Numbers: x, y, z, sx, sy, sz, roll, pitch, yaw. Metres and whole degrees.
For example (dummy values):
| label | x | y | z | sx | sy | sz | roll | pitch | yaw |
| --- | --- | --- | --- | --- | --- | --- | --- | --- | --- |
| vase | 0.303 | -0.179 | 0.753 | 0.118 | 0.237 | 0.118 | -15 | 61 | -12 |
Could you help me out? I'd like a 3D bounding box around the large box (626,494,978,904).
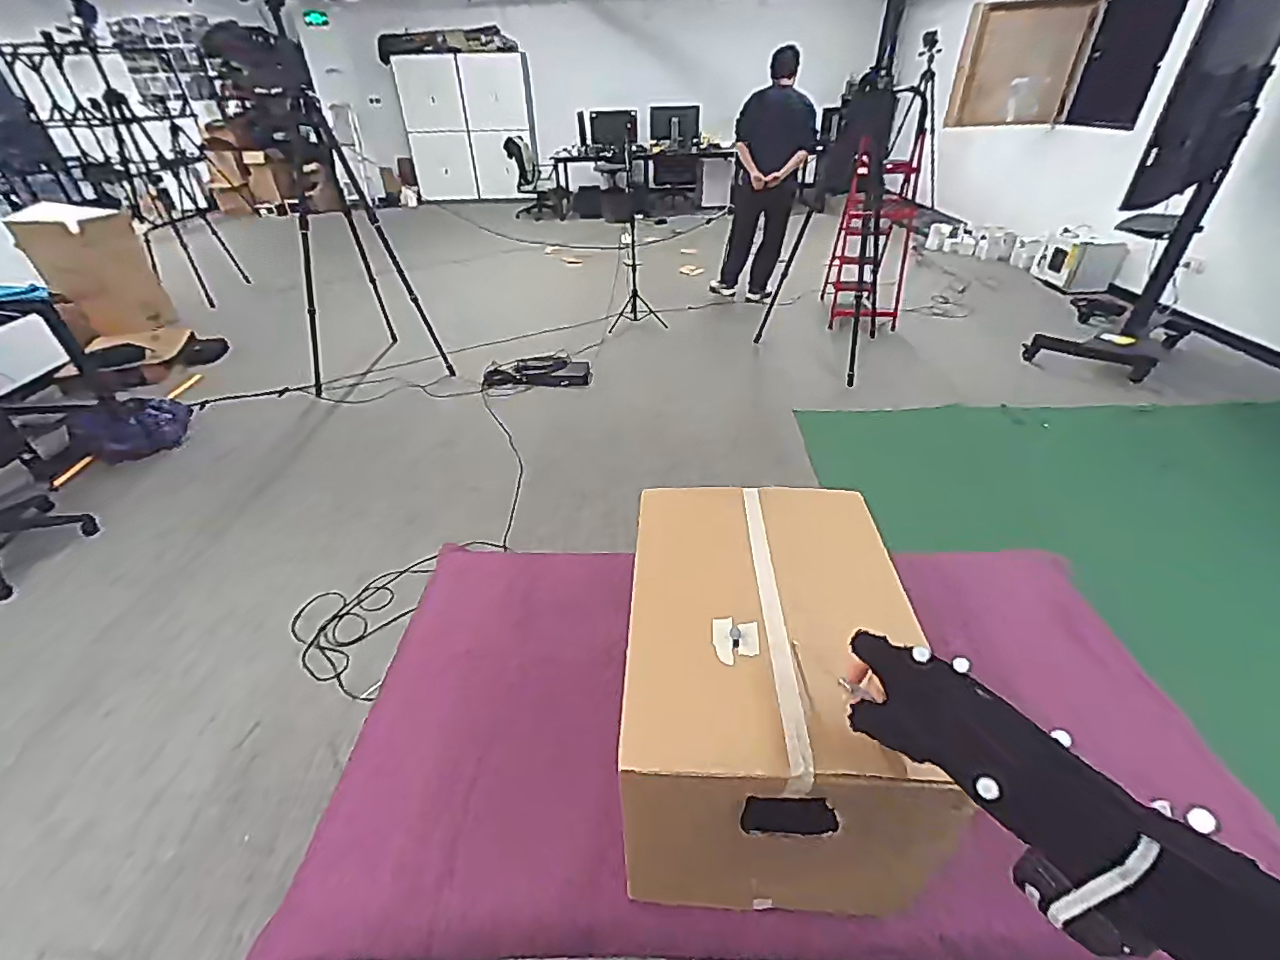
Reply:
| label | x | y | z | sx | sy | sz | roll | pitch | yaw |
| --- | --- | --- | --- | --- | --- | --- | --- | --- | --- |
| large box | 0.149 | 0.262 | 0.717 | 0.320 | 0.320 | 0.408 | 1 | 37 | 3 |
